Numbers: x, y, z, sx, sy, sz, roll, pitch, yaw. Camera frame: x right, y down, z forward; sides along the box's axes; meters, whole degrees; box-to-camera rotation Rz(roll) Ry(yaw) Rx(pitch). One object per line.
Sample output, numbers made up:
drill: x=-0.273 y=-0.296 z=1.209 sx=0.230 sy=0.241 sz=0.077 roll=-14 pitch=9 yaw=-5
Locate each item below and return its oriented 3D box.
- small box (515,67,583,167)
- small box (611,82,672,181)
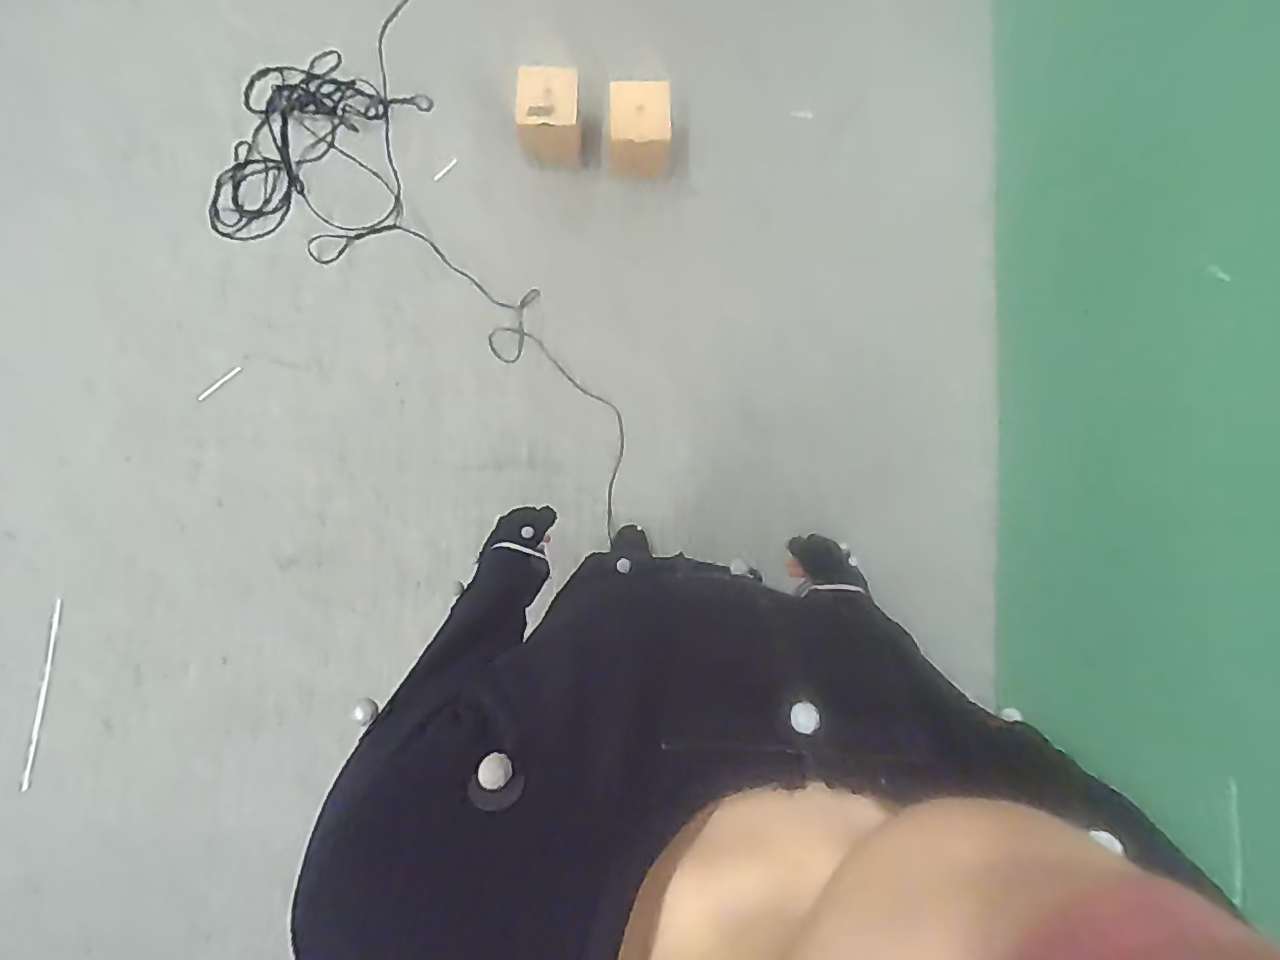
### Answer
small box: x=-0.253 y=-1.026 z=1.538 sx=0.168 sy=0.176 sz=0.179 roll=2 pitch=82 yaw=-2
small box: x=0.000 y=-0.990 z=1.544 sx=0.168 sy=0.176 sz=0.179 roll=-1 pitch=84 yaw=-2
